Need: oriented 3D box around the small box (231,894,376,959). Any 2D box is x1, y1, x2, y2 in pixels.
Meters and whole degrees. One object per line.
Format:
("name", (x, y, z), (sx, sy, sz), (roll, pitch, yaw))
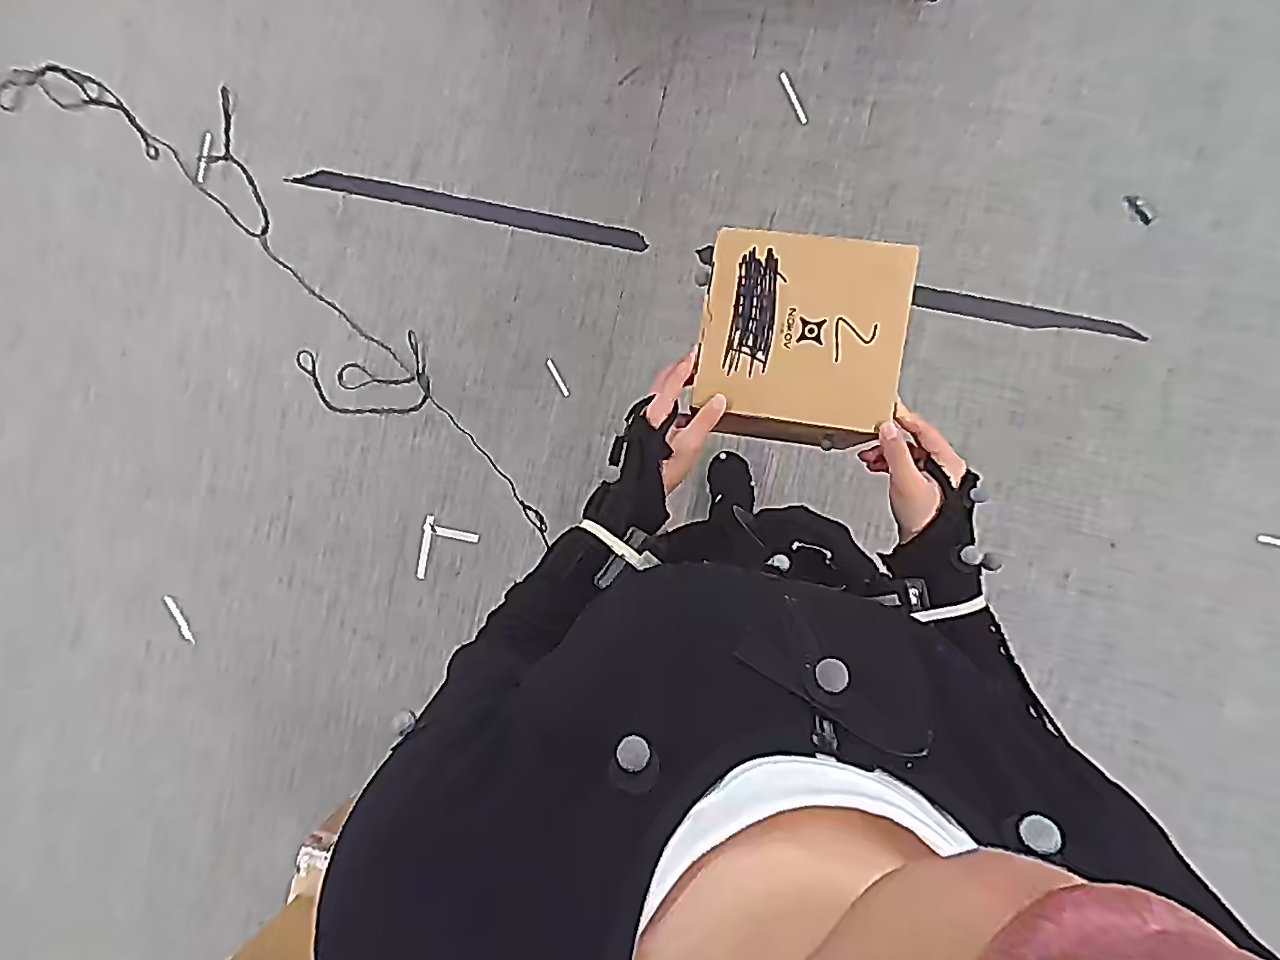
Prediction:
("small box", (-0.586, 0.857, 0.910), (0.179, 0.176, 0.168), (20, 91, 9))
